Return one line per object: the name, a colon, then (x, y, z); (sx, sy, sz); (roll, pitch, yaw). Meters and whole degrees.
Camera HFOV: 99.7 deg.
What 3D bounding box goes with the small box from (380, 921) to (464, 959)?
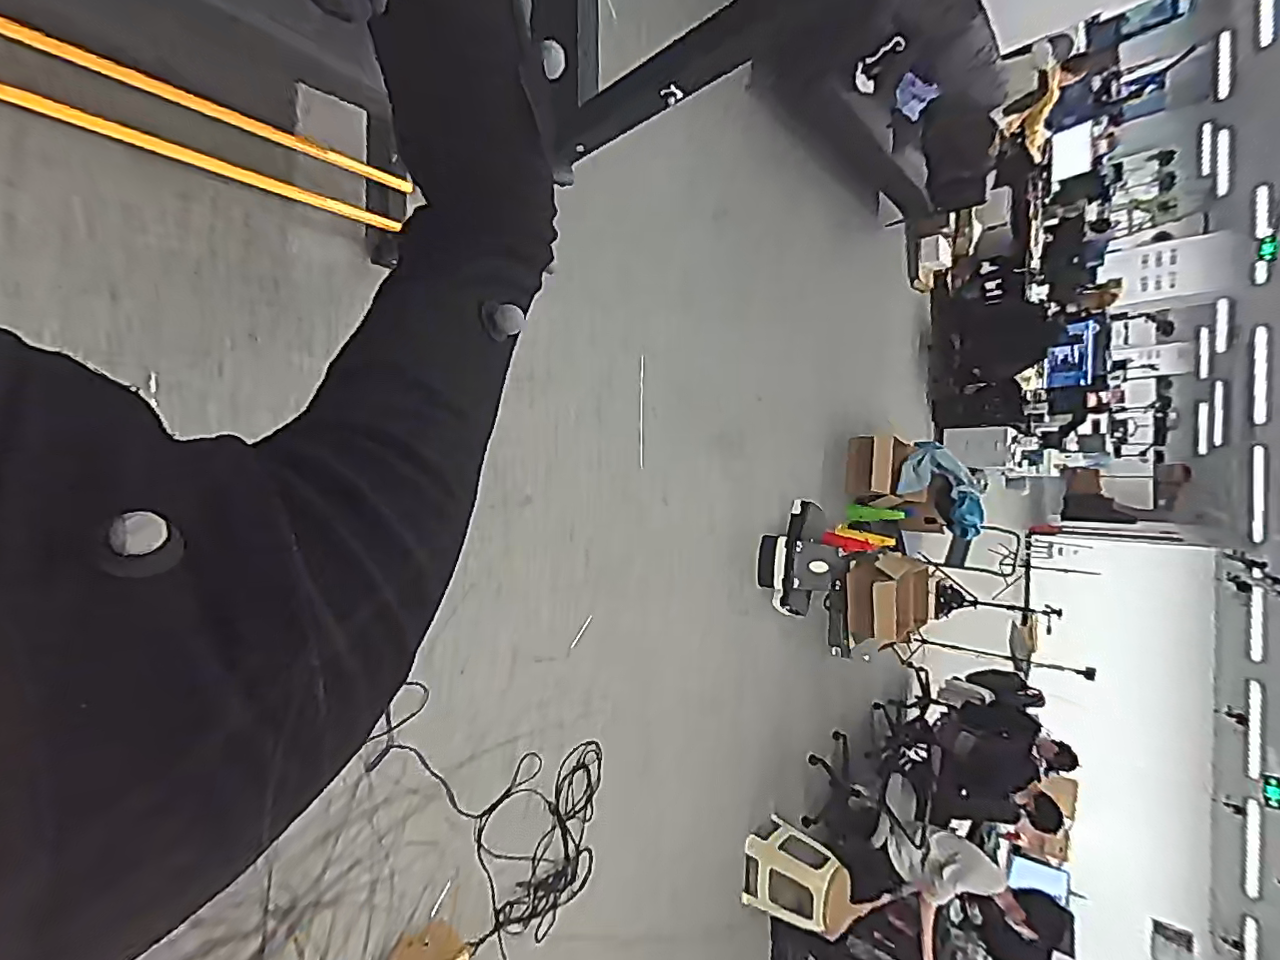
small box: (-0.606, 1.394, 1.501); (0.168, 0.176, 0.179); (-1, 90, -48)
